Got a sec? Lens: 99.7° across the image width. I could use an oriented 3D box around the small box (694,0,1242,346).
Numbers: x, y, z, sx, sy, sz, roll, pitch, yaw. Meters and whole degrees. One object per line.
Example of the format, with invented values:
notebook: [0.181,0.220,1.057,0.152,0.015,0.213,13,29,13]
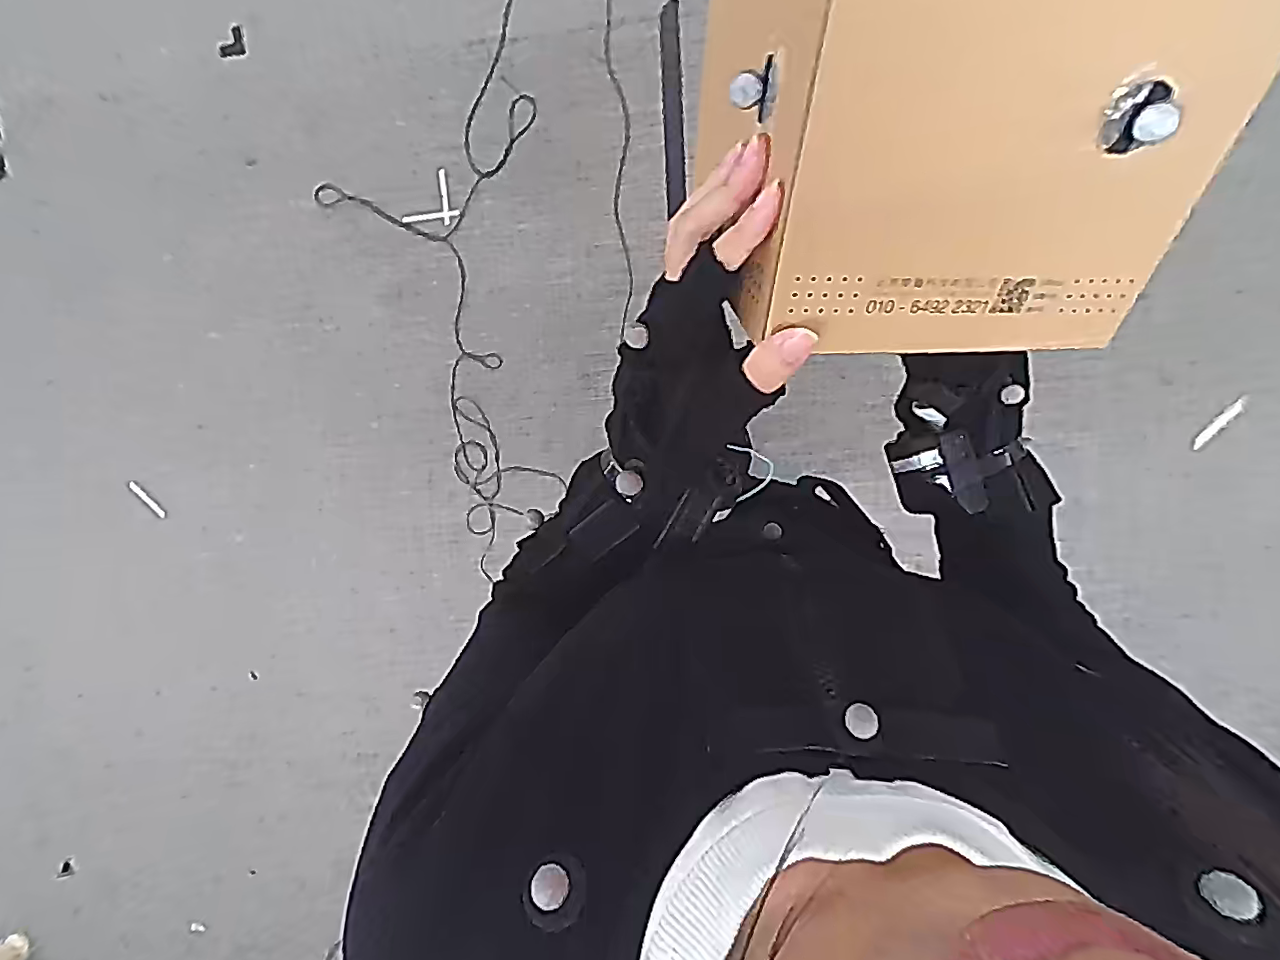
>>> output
small box: [0.128,-0.178,0.273,0.168,0.179,0.176,-2,129,-7]
